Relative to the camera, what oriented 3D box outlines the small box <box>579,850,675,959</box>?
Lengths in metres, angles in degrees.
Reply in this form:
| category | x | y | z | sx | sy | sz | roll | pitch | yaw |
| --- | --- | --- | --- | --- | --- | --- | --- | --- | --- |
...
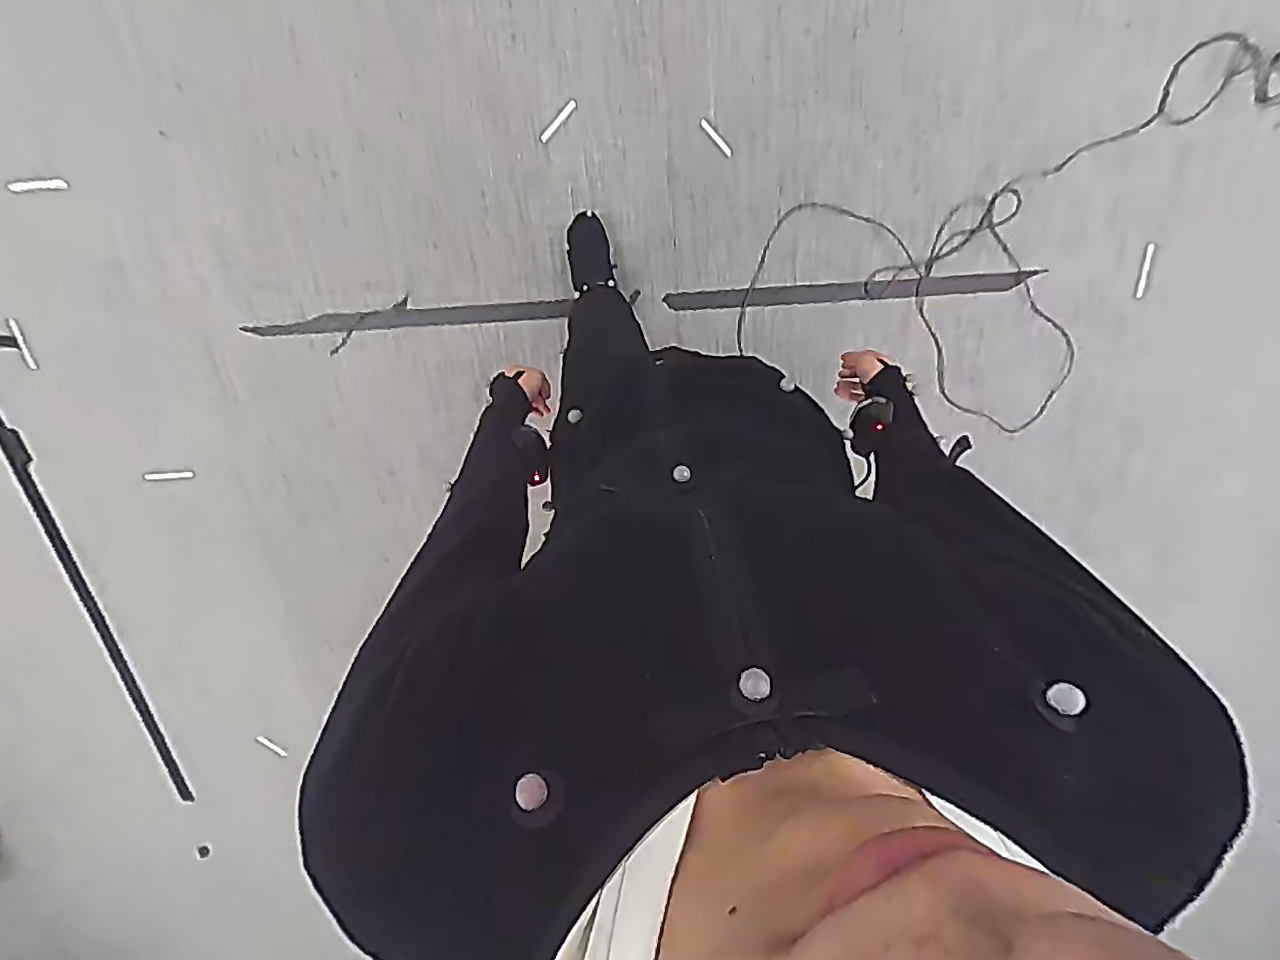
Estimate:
| category | x | y | z | sx | sy | sz | roll | pitch | yaw |
| --- | --- | --- | --- | --- | --- | --- | --- | --- | --- |
| small box | -0.021 | 0.908 | 1.125 | 0.179 | 0.176 | 0.168 | -6 | 110 | 3 |
